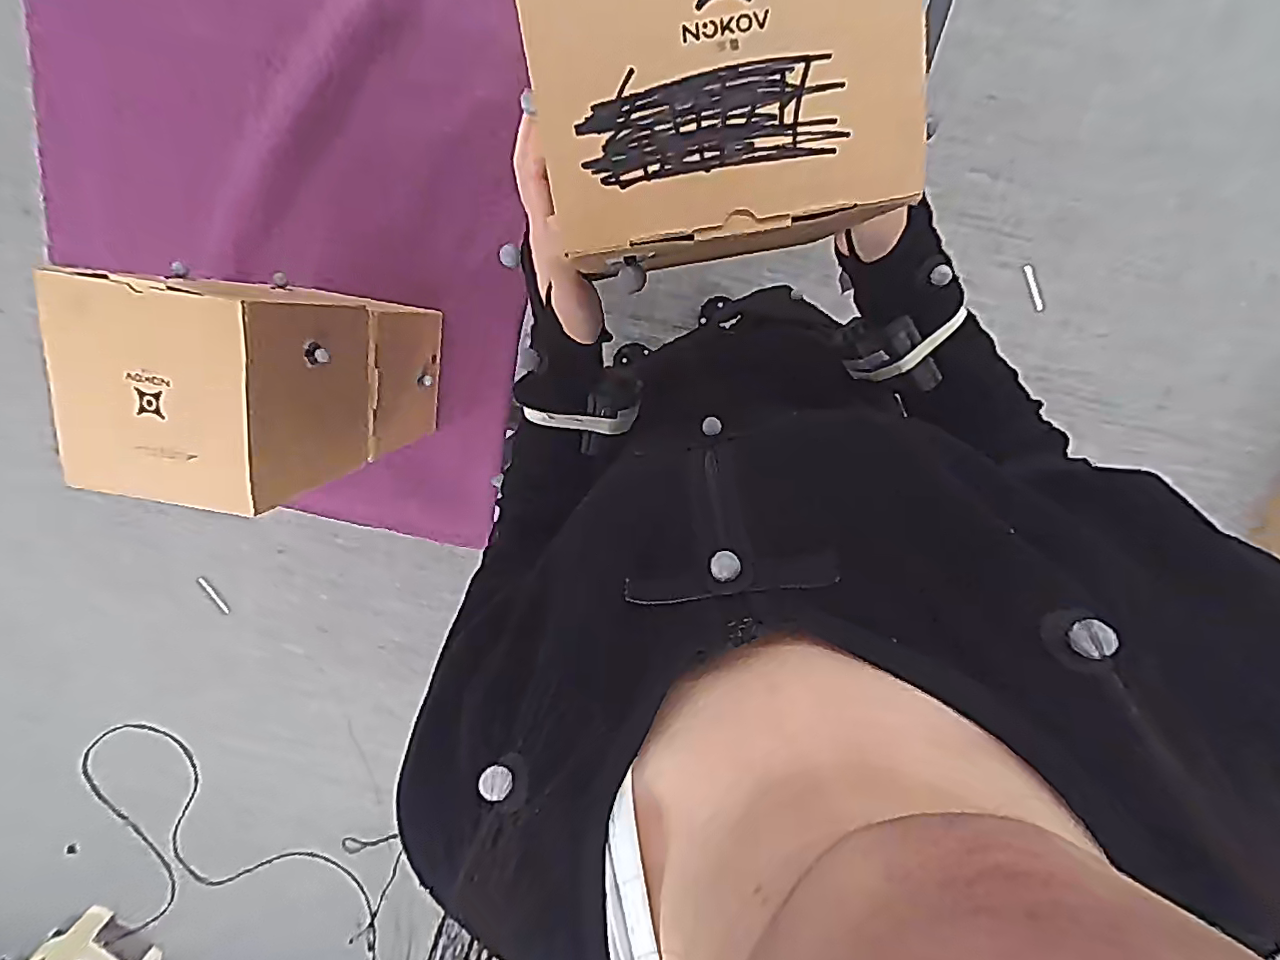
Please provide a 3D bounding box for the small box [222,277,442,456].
[{"bbox_3d":[-0.364,-0.140,0.656,0.179,0.176,0.168,10,107,0],"label":"small box"}]

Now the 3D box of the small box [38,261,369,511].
[{"bbox_3d":[-0.374,-0.092,0.501,0.168,0.176,0.179,10,108,2],"label":"small box"}]
